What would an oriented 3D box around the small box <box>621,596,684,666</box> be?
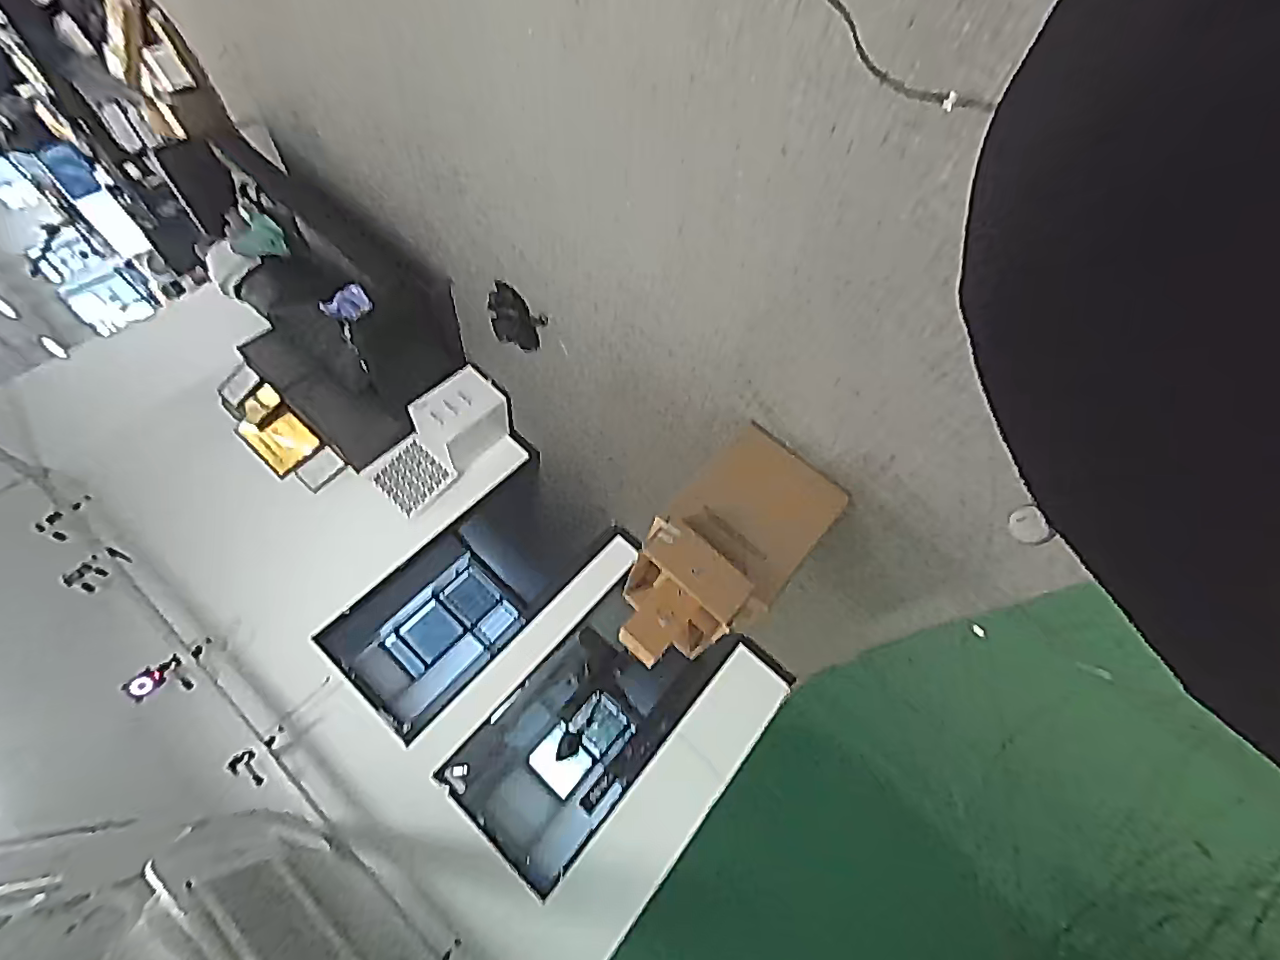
[{"bbox_3d":[0.047,0.568,2.037,0.168,0.176,0.179,38,154,15],"label":"small box"}]
